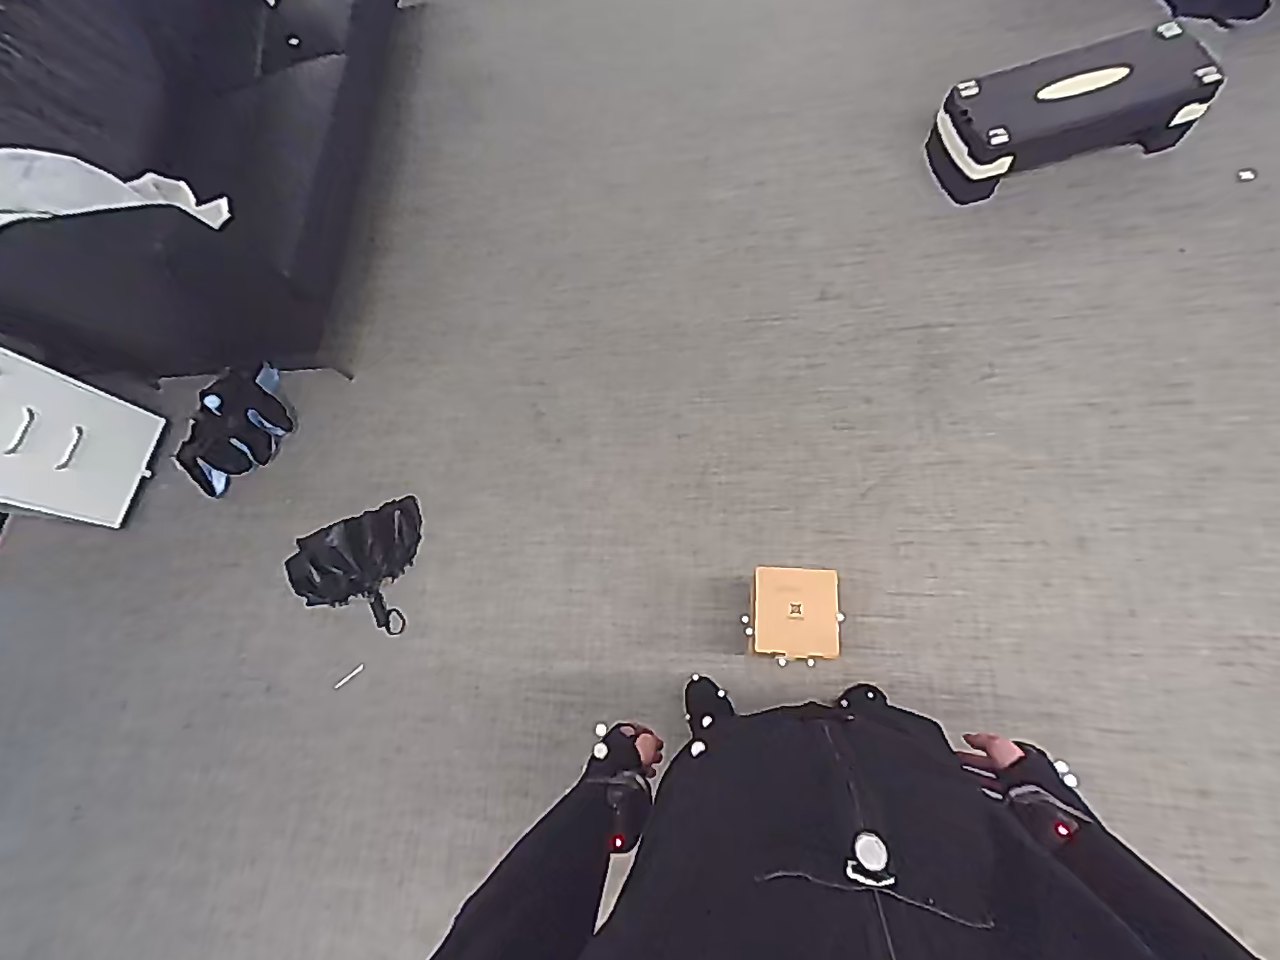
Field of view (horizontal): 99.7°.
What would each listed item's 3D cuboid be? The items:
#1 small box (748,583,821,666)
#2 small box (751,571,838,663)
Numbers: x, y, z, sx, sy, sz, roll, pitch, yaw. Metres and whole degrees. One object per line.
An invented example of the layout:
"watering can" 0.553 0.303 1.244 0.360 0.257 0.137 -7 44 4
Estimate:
"small box" 0.352 0.357 1.329 0.168 0.176 0.179 2 72 11
"small box" 0.330 0.302 1.178 0.168 0.176 0.179 1 70 9
